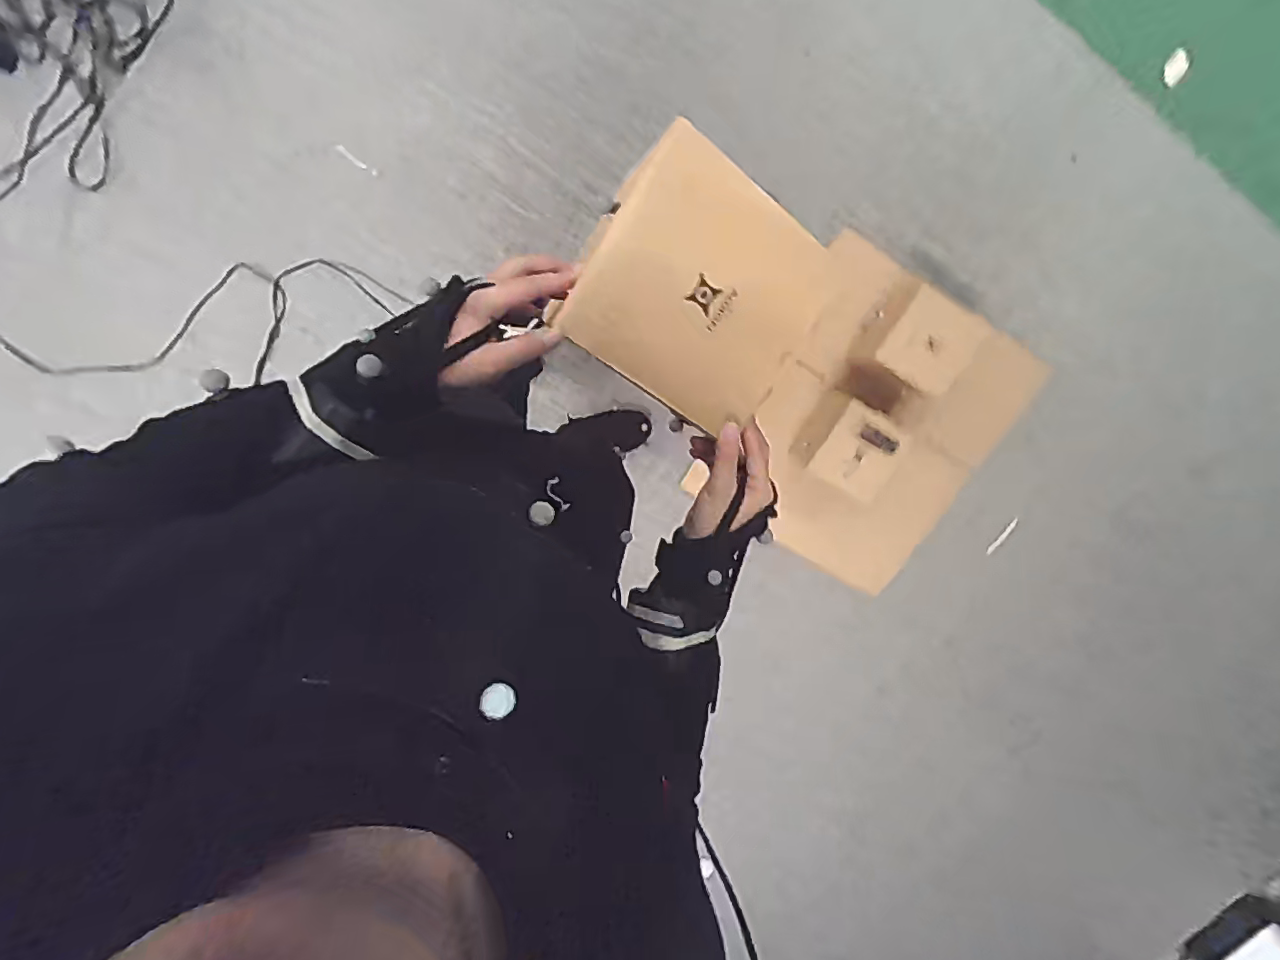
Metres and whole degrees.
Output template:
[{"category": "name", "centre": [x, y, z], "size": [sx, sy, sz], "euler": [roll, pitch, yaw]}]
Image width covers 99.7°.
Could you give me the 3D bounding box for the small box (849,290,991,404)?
[{"category": "small box", "centre": [0.591, -0.286, 1.164], "size": [0.179, 0.176, 0.168], "euler": [31, 103, -6]}]

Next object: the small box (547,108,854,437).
[{"category": "small box", "centre": [0.034, -0.163, 0.469], "size": [0.179, 0.176, 0.168], "euler": [31, 99, -21]}]
